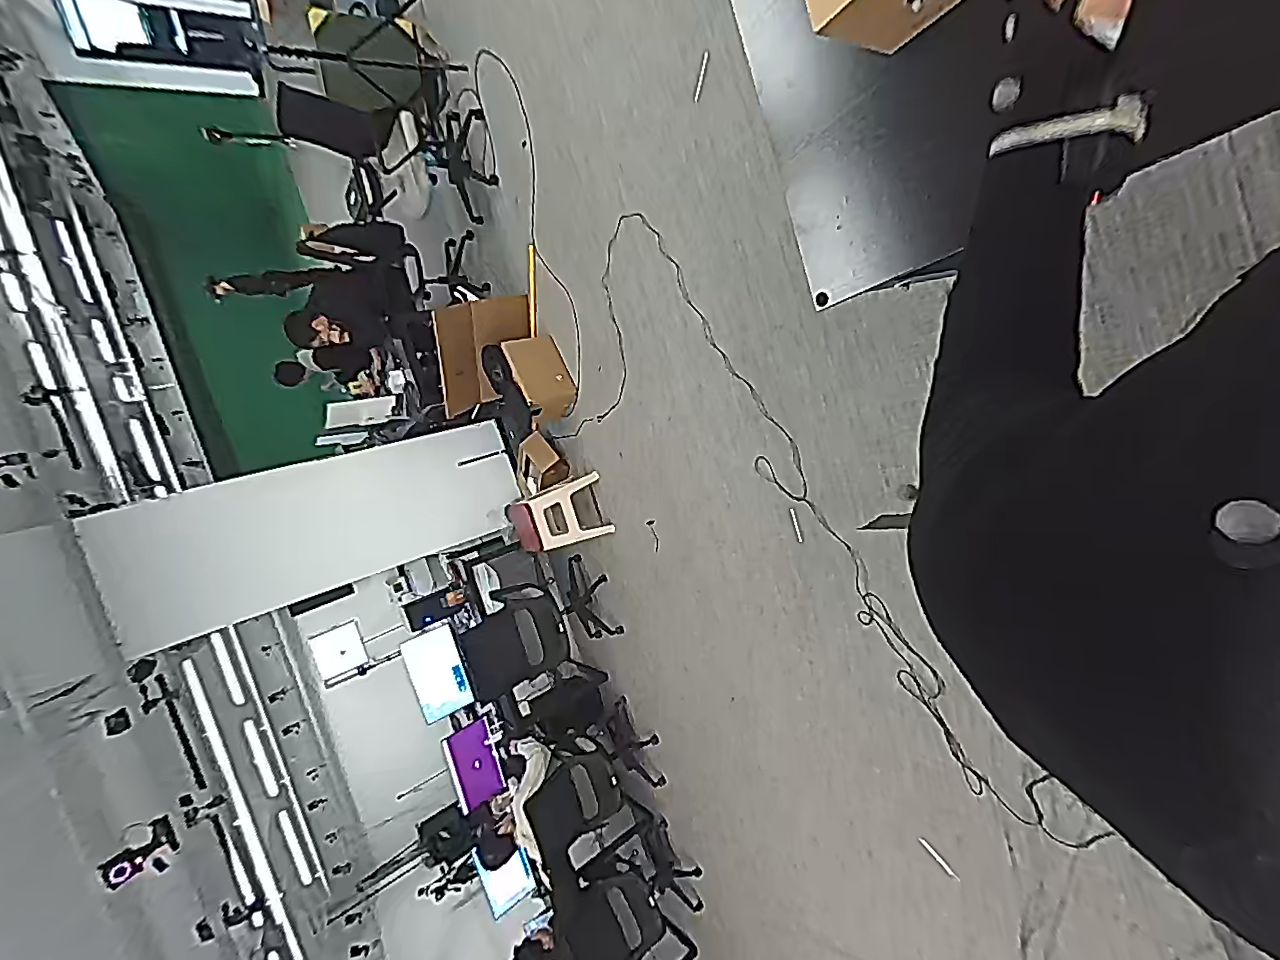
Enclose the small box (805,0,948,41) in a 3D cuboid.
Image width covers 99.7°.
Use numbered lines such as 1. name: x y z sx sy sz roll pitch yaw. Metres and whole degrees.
1. small box: 0.286 -0.624 0.590 0.168 0.176 0.179 -6 101 57
